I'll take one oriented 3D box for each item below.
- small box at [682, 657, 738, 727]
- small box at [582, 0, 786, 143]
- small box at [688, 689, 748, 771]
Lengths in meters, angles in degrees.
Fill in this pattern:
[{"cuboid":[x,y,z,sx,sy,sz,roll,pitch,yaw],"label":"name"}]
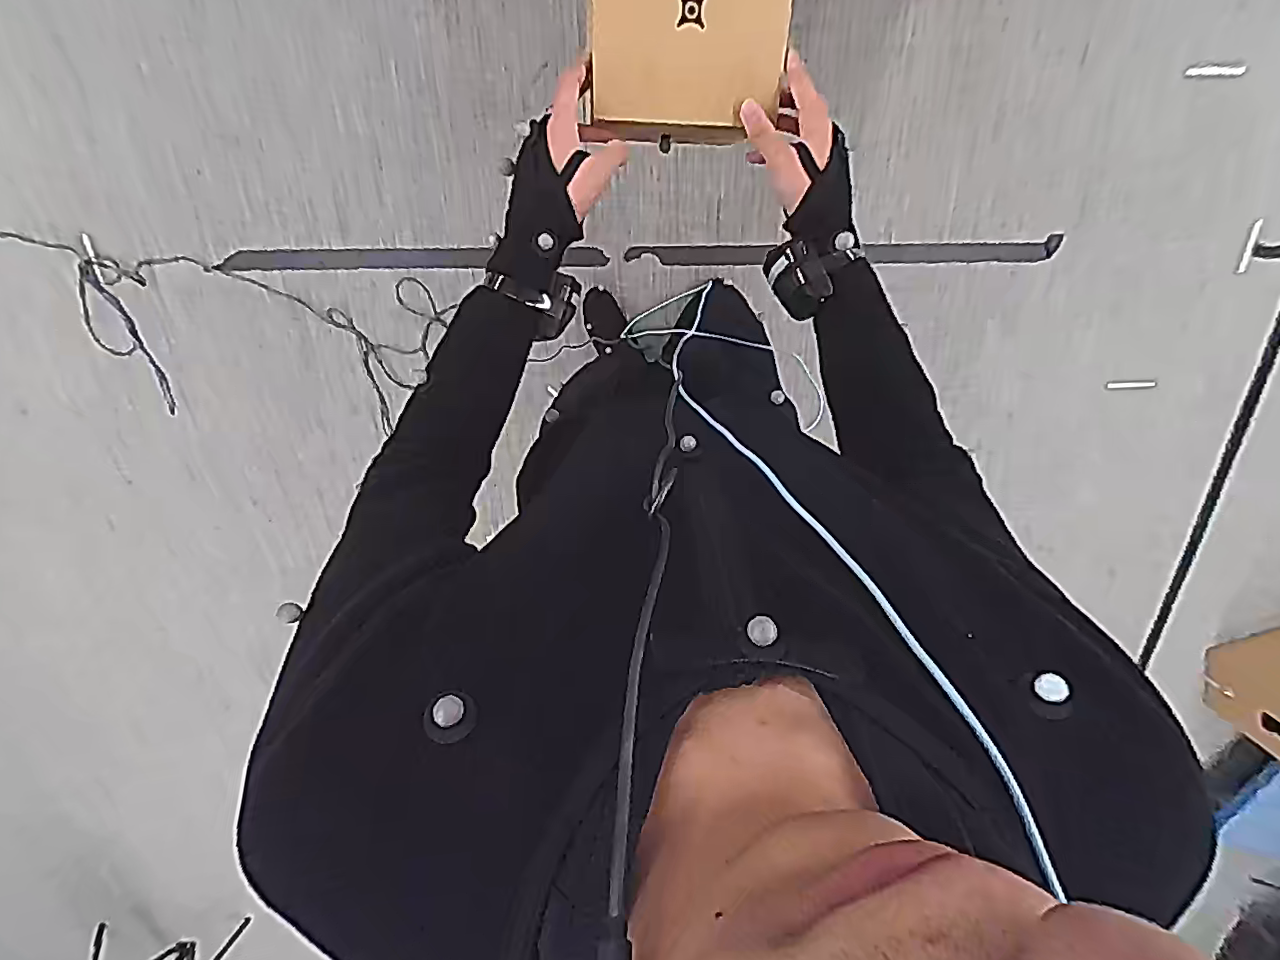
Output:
[{"cuboid":[0.247,0.760,1.941,0.179,0.176,0.168,-4,112,-3],"label":"small box"},{"cuboid":[0.031,-0.428,0.508,0.168,0.176,0.179,-1,117,-7],"label":"small box"},{"cuboid":[0.254,0.824,1.790,0.168,0.176,0.179,-4,111,-4],"label":"small box"}]
